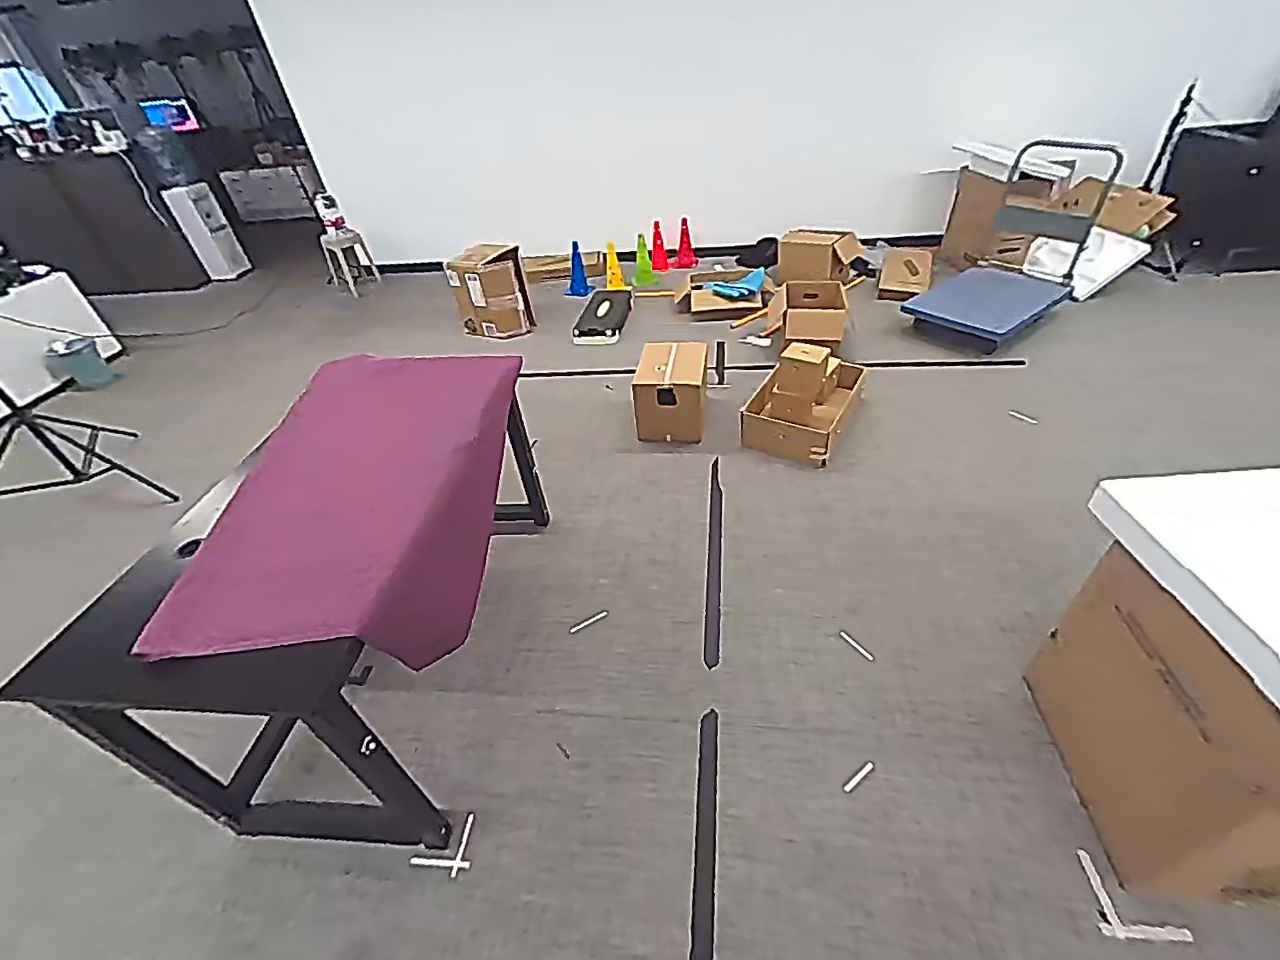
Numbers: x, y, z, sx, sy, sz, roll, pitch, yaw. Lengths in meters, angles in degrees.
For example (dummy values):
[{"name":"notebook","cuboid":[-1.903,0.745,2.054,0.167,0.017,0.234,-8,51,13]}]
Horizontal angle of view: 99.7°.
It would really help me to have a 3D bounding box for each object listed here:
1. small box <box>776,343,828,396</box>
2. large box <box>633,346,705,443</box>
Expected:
[{"name":"small box","cuboid":[0.719,-0.493,2.416,0.179,0.176,0.168,19,44,26]},{"name":"large box","cuboid":[0.155,-0.419,2.626,0.320,0.320,0.408,1,41,10]}]
